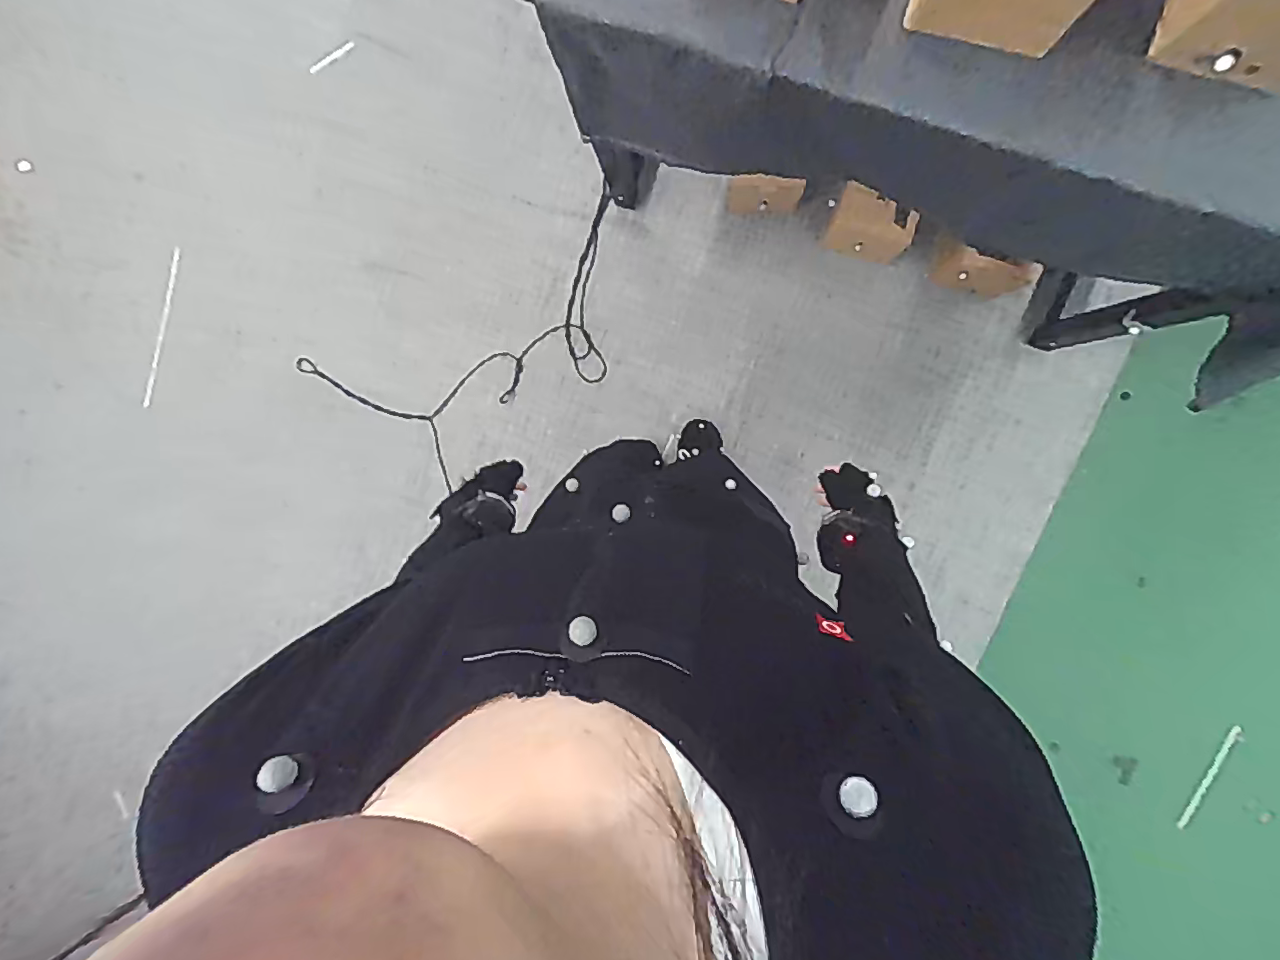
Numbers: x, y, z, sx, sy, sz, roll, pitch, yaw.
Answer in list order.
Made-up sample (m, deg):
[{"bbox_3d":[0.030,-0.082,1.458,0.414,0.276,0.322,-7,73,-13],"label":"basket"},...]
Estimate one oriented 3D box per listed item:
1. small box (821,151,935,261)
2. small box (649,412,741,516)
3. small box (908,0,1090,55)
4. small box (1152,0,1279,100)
[{"bbox_3d":[0.556,-0.640,1.287,0.179,0.176,0.168,19,98,5],"label":"small box"},{"bbox_3d":[0.137,-0.039,1.407,0.179,0.176,0.168,-32,64,-14],"label":"small box"},{"bbox_3d":[0.418,-0.600,0.573,0.179,0.176,0.168,15,97,3],"label":"small box"},{"bbox_3d":[0.693,-0.542,0.551,0.168,0.176,0.179,18,98,4],"label":"small box"}]
